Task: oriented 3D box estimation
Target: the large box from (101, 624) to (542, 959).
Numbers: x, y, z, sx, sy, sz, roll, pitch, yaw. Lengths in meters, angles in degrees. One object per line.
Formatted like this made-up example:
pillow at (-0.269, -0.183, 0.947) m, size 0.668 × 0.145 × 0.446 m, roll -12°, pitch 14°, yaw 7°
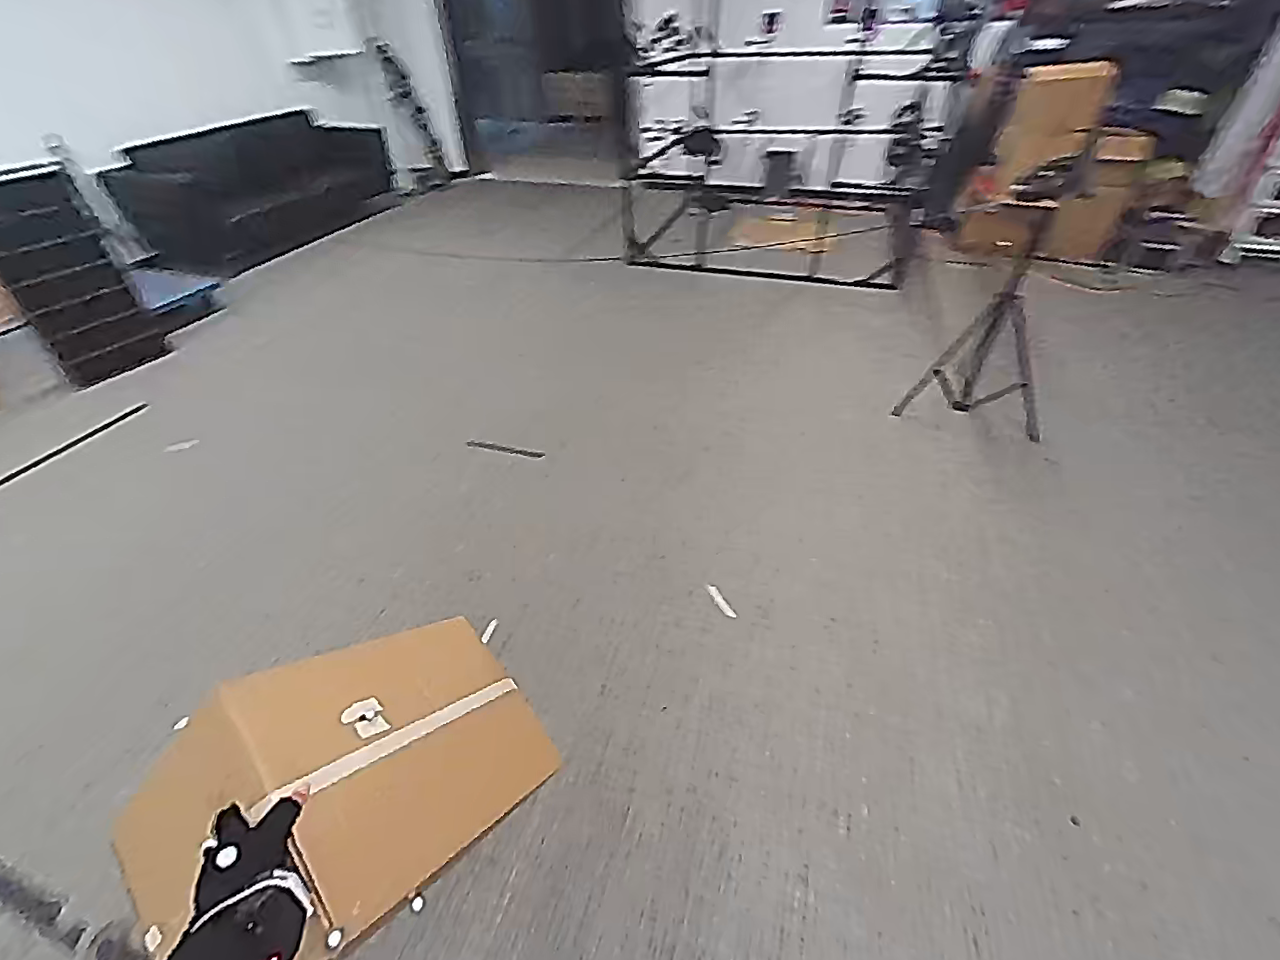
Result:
large box at (-0.428, 0.468, 0.793) m, size 0.320 × 0.320 × 0.408 m, roll 47°, pitch 16°, yaw 17°
